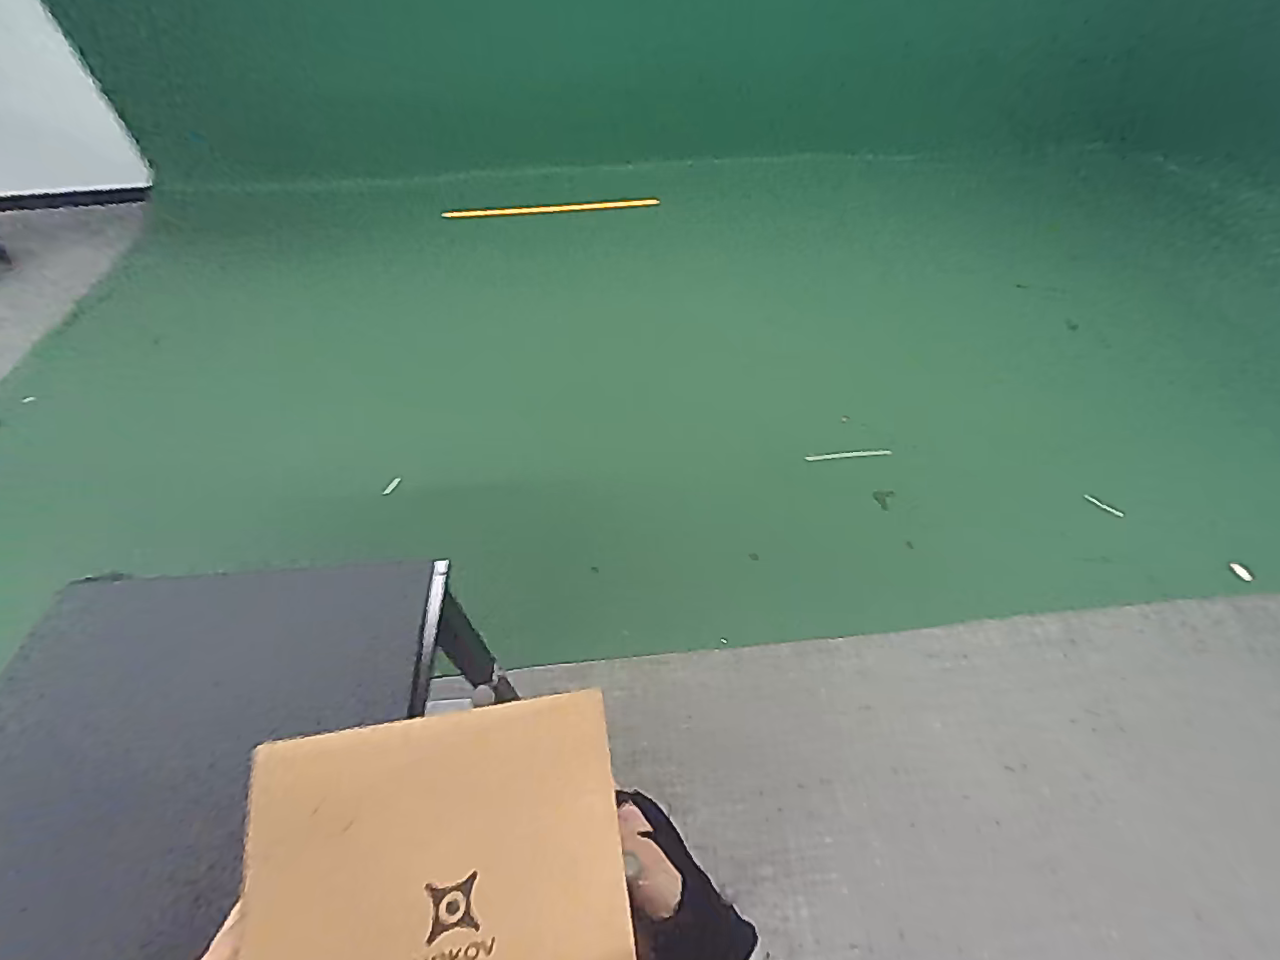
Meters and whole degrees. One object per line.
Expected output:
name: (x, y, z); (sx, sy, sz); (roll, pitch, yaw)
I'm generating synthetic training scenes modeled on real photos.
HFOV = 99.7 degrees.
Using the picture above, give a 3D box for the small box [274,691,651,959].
small box: (-0.102, 0.234, 0.321); (0.168, 0.176, 0.179); (0, 65, -19)
